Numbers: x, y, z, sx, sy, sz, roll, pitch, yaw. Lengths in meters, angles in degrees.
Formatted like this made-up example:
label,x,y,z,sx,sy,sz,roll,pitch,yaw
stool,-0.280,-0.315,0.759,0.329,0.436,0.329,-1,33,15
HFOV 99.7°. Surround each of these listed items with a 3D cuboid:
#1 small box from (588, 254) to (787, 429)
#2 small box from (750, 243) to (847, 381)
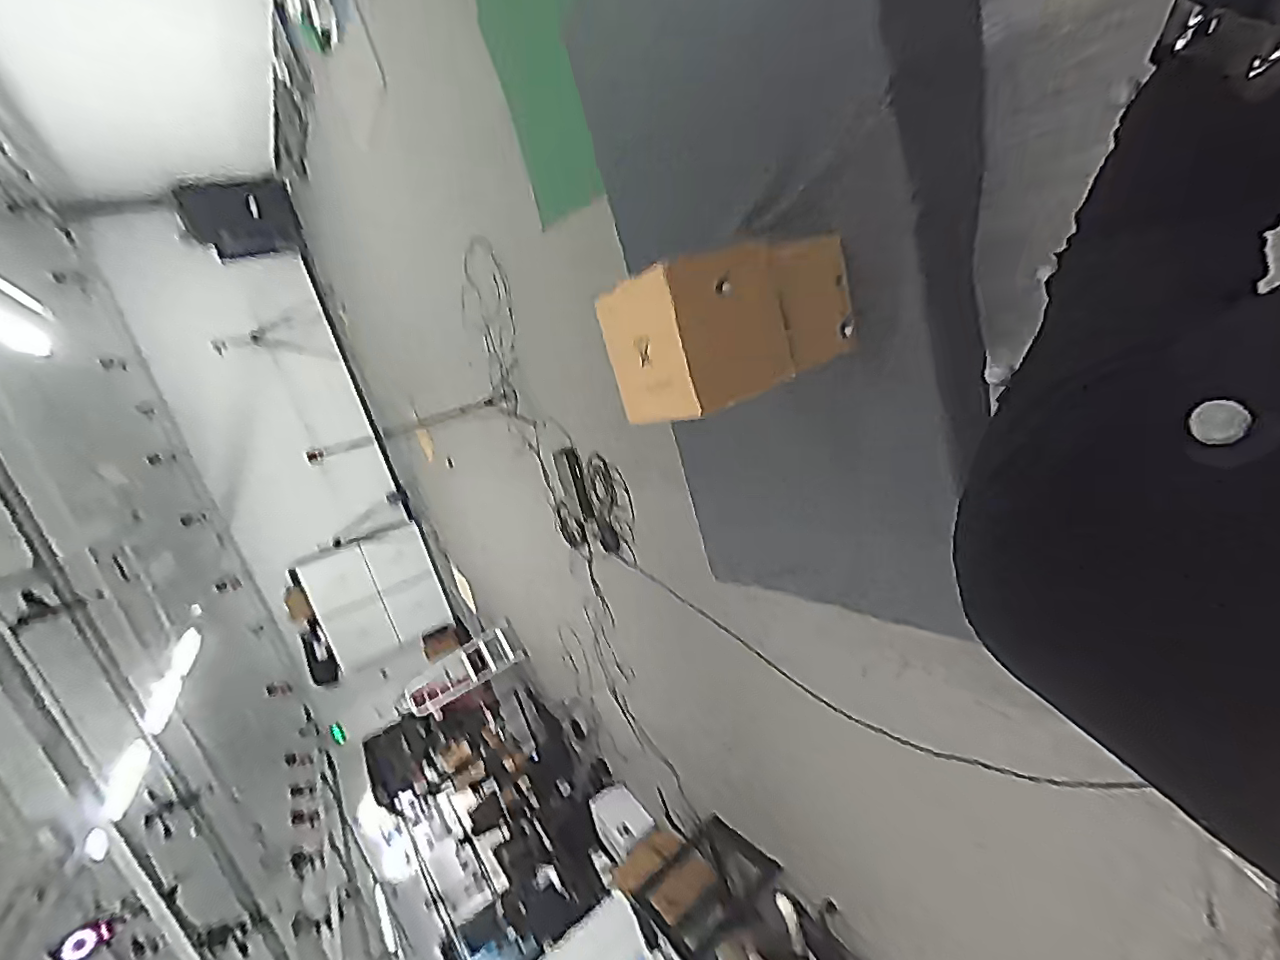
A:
label,x,y,z,sx,sy,sz,roll,pitch,yaw
small box,0.062,-0.181,0.709,0.168,0.176,0.179,-5,105,59
small box,0.191,-0.243,0.817,0.179,0.176,0.168,5,115,57
